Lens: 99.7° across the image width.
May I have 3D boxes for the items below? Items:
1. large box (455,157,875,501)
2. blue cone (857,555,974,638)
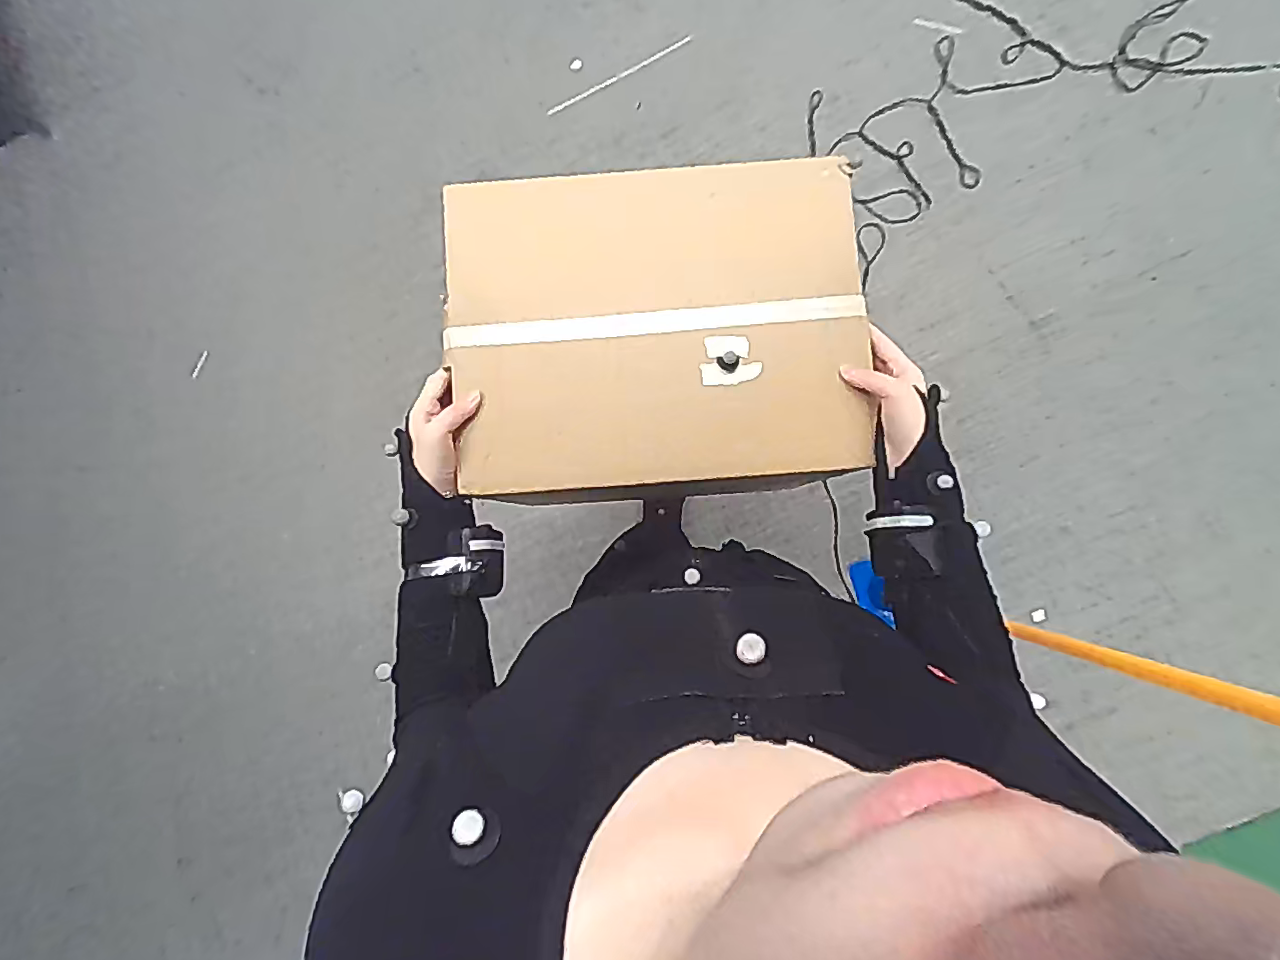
[{"bbox_3d":[0.018,-0.149,0.681,0.408,0.320,0.320,-3,85,-1],"label":"large box"},{"bbox_3d":[0.667,0.293,1.265,0.193,0.380,0.192,-16,85,4],"label":"blue cone"}]
